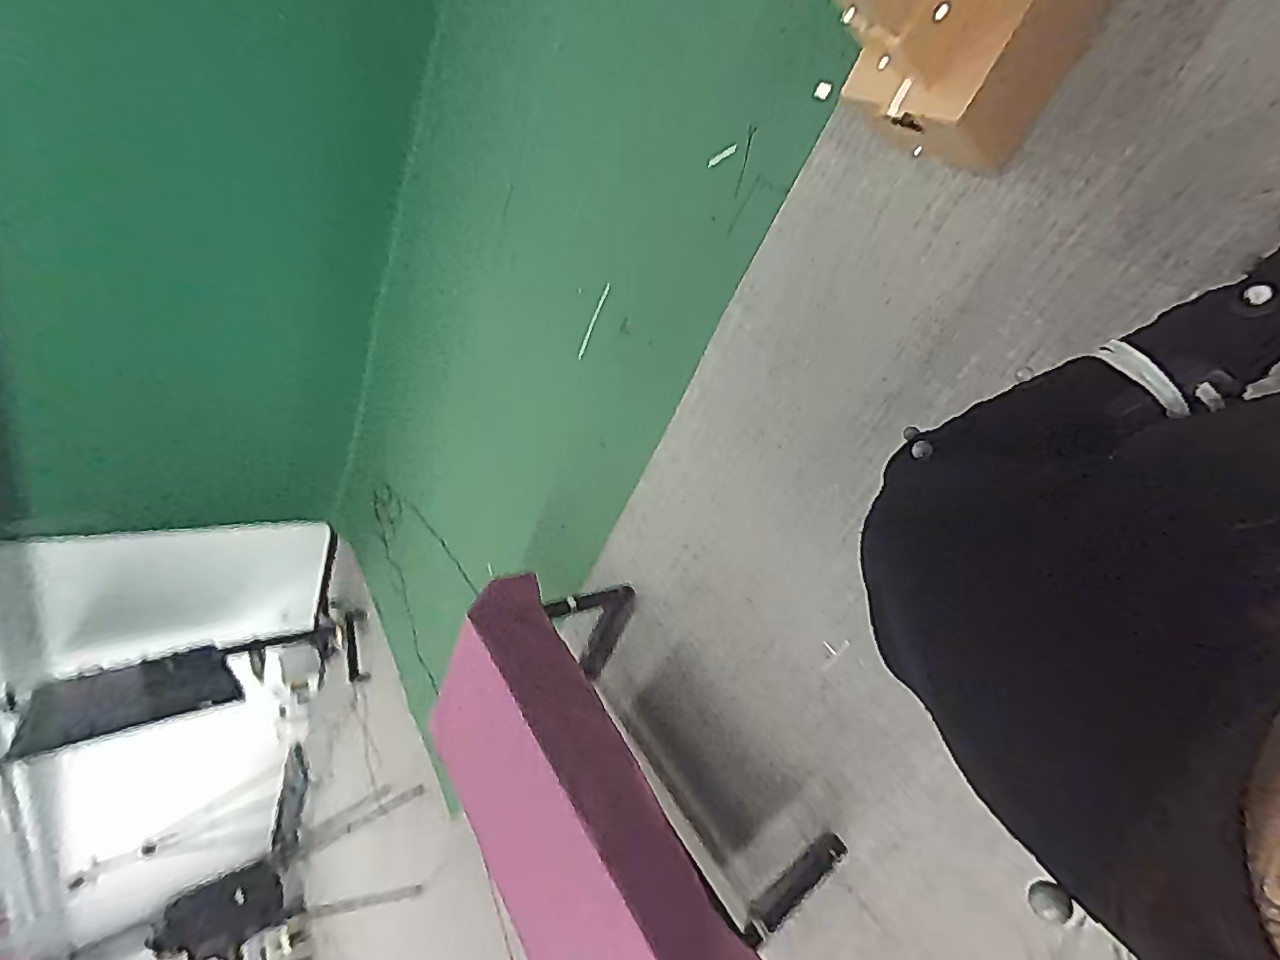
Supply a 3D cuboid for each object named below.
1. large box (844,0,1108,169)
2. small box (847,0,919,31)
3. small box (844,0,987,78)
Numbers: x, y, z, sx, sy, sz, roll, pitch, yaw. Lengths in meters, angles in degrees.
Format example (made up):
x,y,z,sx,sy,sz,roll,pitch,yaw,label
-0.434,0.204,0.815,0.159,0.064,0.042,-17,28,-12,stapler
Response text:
x,y,z,sx,sy,sz,roll,pitch,yaw,label
0.744,-0.986,1.195,0.320,0.320,0.408,47,122,34,large box
0.429,-0.948,0.939,0.179,0.176,0.168,-50,57,36,small box
0.546,-0.942,1.053,0.179,0.176,0.168,-54,56,34,small box
